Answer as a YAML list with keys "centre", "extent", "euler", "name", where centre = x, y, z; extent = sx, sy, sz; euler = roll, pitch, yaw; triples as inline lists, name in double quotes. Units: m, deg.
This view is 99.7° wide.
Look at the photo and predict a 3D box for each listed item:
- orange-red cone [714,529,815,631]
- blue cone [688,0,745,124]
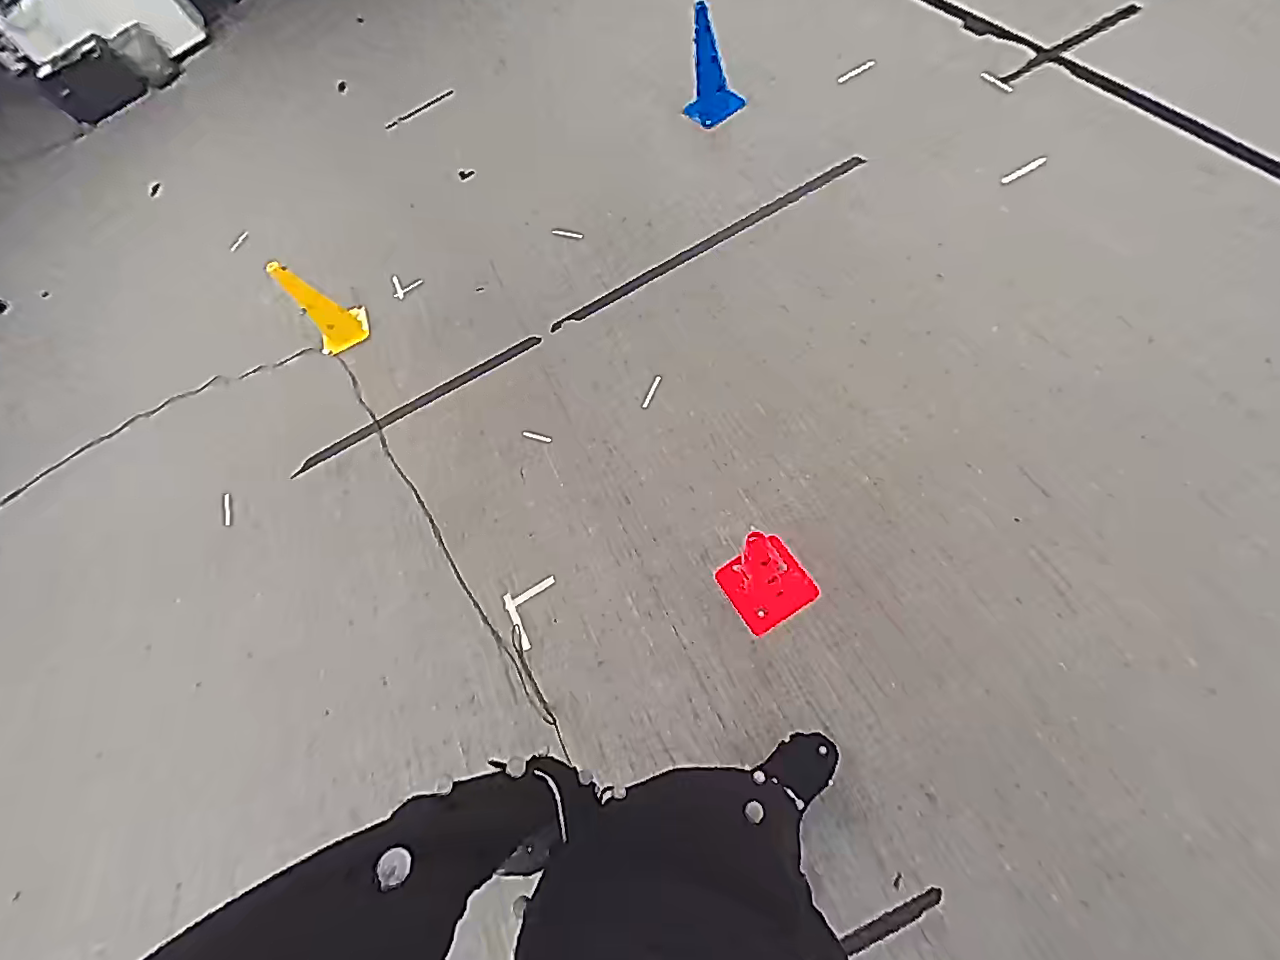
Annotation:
- centre: [0.269, 0.182, 1.208]
  extent: [0.199, 0.360, 0.198]
  euler: [-32, 62, -1]
  name: "orange-red cone"
- centre: [0.264, -1.591, 2.039]
  extent: [0.193, 0.380, 0.192]
  euler: [-33, 61, -1]
  name: "blue cone"
